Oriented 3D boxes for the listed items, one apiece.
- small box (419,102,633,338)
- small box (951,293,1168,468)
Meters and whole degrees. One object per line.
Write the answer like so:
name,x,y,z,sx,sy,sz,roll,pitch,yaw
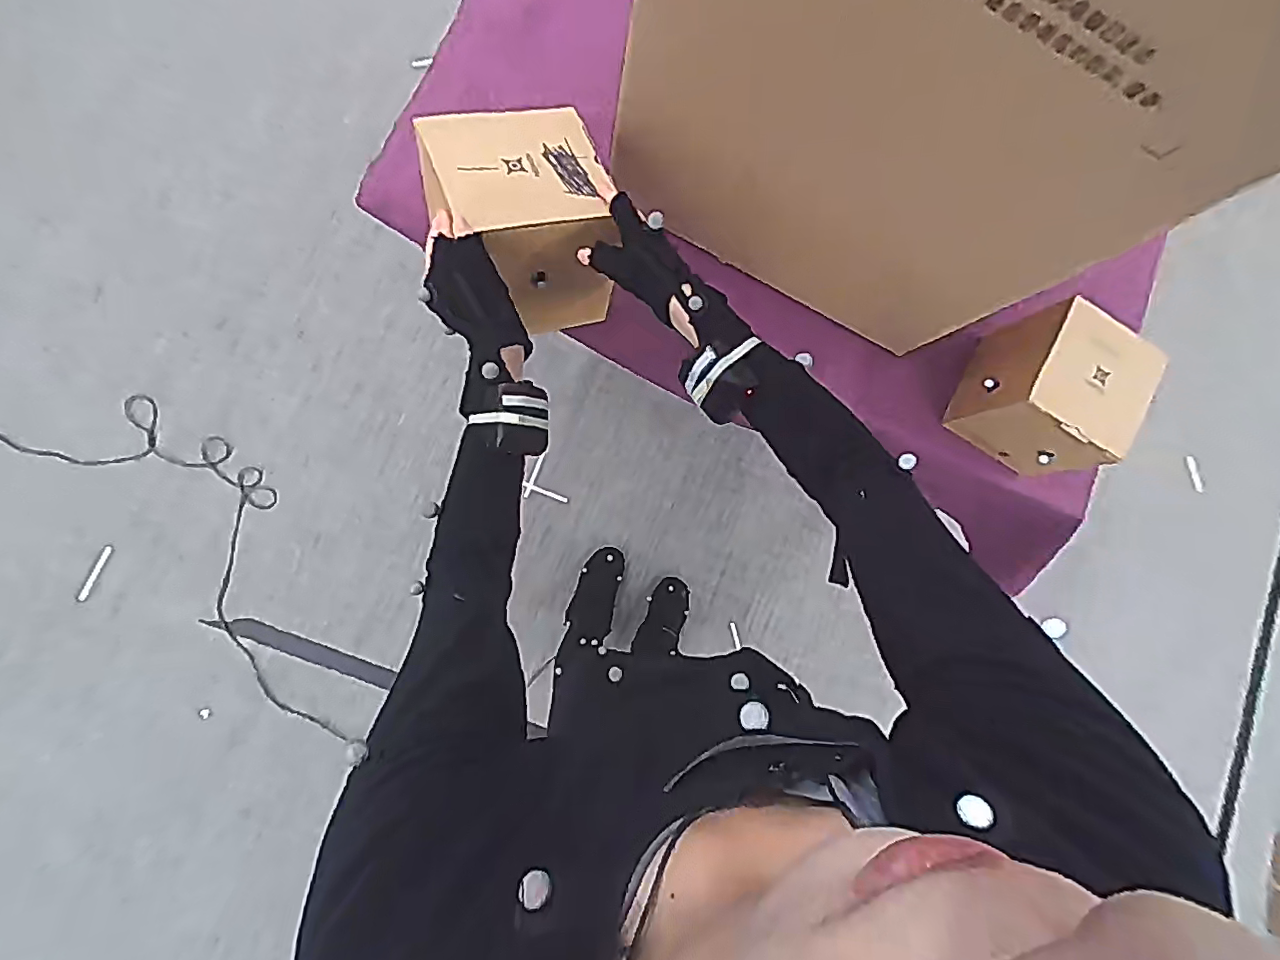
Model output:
small box,-0.130,-0.287,0.611,0.179,0.176,0.168,-18,70,-20
small box,0.605,-0.133,0.802,0.168,0.176,0.179,30,80,-6
